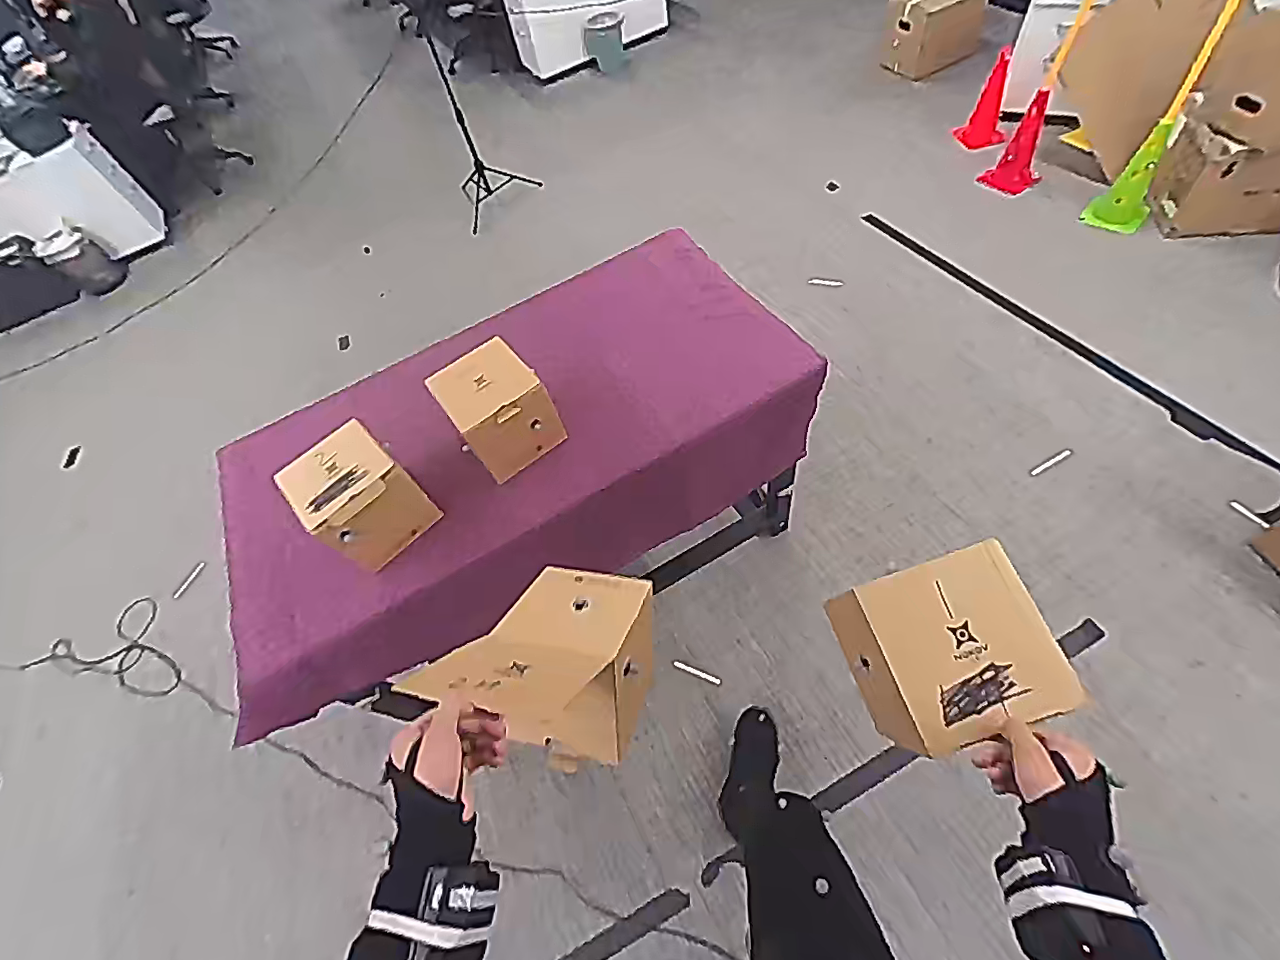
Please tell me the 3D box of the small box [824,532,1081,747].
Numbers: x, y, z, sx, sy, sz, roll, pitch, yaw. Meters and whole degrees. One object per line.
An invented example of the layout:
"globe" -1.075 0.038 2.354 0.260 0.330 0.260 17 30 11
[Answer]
"small box" 0.335 0.180 0.625 0.168 0.176 0.179 -19 71 0

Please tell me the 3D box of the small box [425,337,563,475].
"small box" -0.273 -0.134 1.041 0.168 0.176 0.179 -36 58 -13

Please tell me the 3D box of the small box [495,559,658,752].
"small box" -0.076 0.229 0.746 0.168 0.179 0.176 5 25 17
